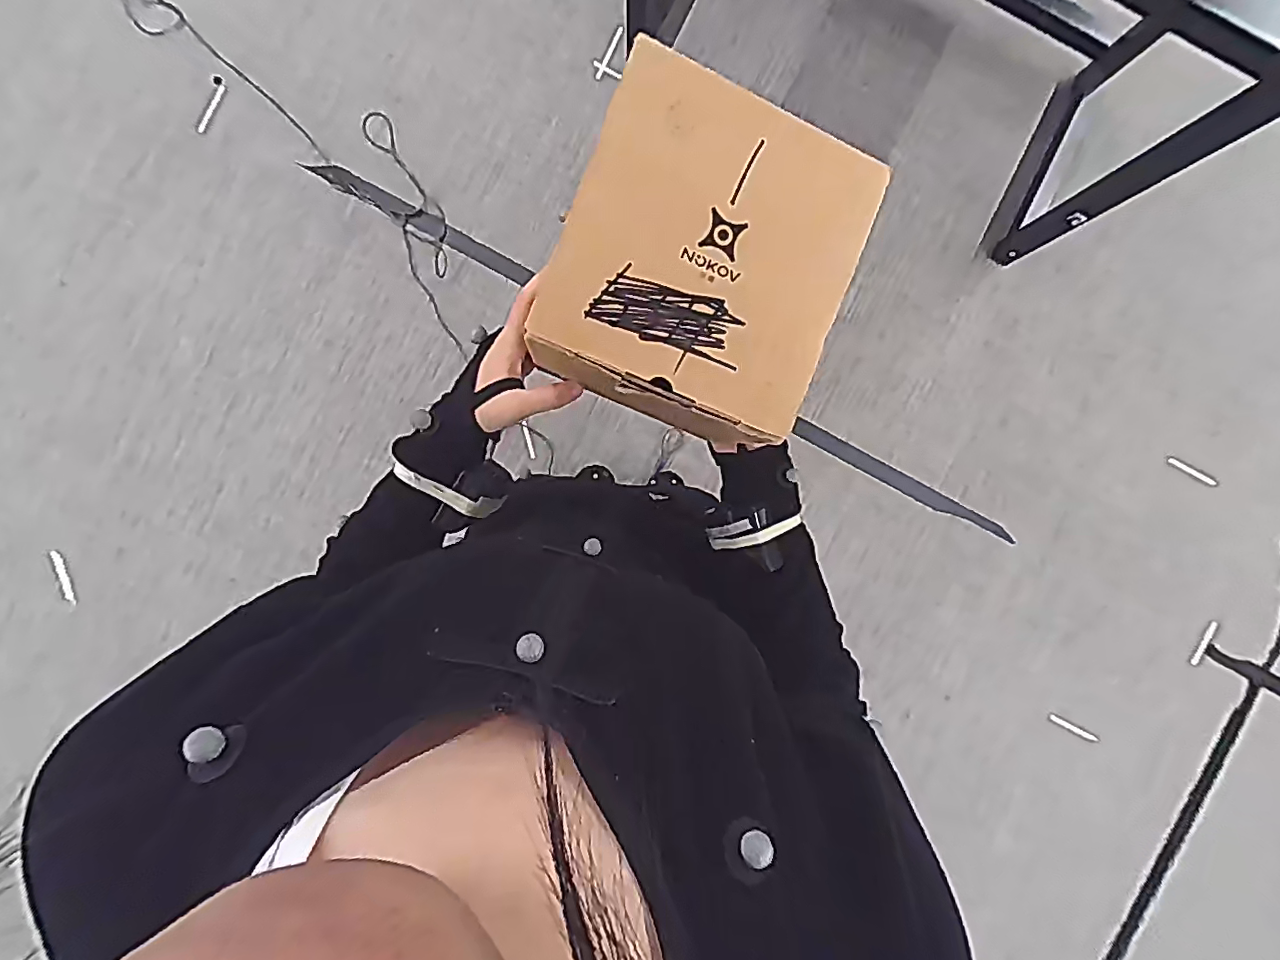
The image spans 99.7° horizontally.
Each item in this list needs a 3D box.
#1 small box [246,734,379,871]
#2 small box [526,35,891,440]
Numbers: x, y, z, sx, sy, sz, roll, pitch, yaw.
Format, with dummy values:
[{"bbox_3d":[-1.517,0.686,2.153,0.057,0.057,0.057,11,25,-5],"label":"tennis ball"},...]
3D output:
[{"bbox_3d":[-0.740,0.732,1.244,0.168,0.176,0.179,30,89,-2],"label":"small box"},{"bbox_3d":[0.032,-0.138,0.385,0.168,0.176,0.179,22,91,-10],"label":"small box"}]
